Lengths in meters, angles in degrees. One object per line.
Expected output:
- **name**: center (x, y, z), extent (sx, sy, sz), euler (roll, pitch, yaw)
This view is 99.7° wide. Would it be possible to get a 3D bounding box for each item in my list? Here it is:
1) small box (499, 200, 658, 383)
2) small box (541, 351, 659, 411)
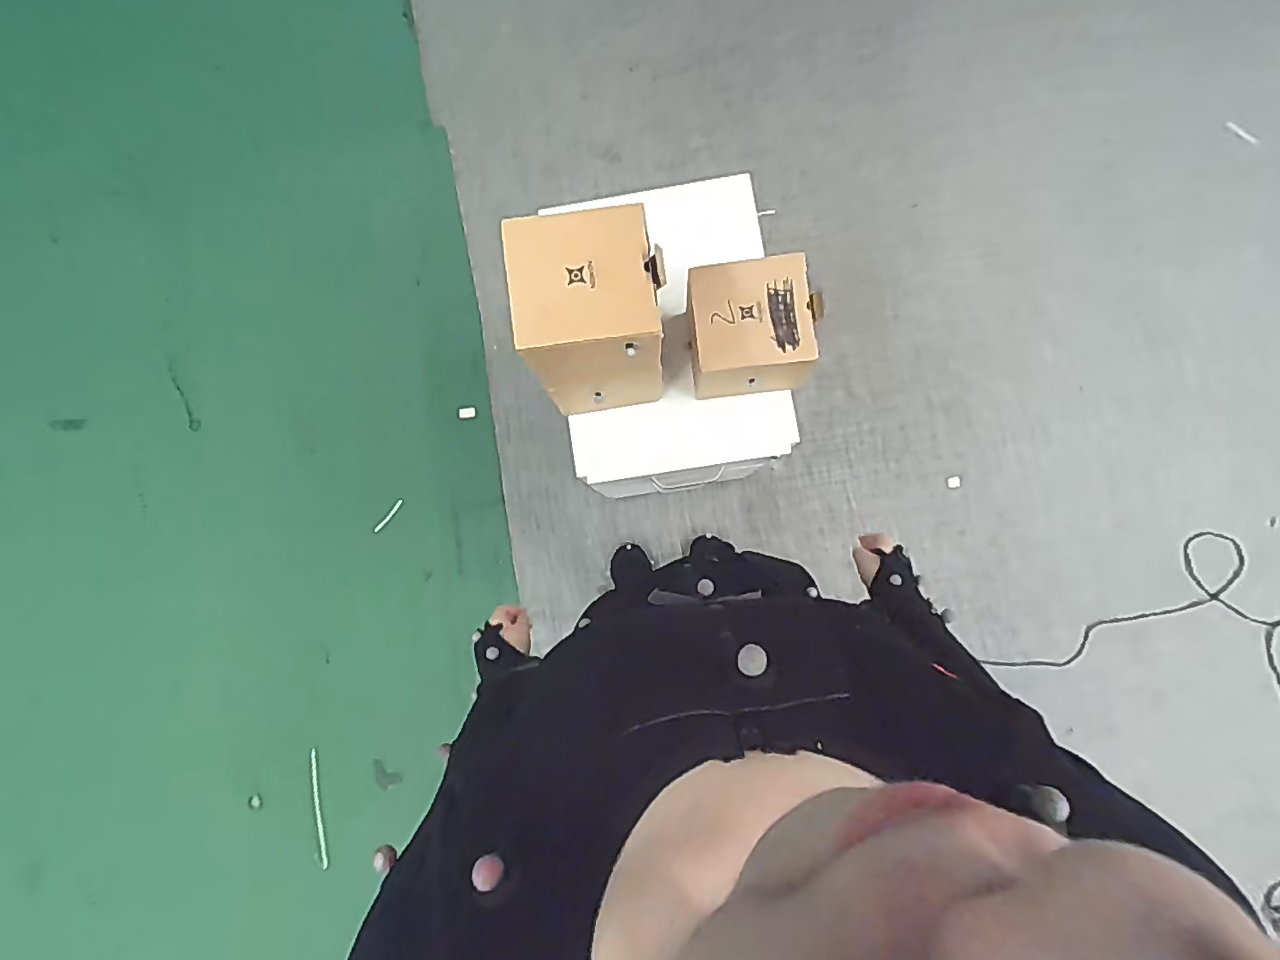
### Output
- **small box**: center (-0.073, -0.236, 0.719), extent (0.179, 0.176, 0.168), euler (-8, 84, -1)
- **small box**: center (-0.067, -0.219, 0.881), extent (0.179, 0.176, 0.168), euler (-10, 85, 1)
